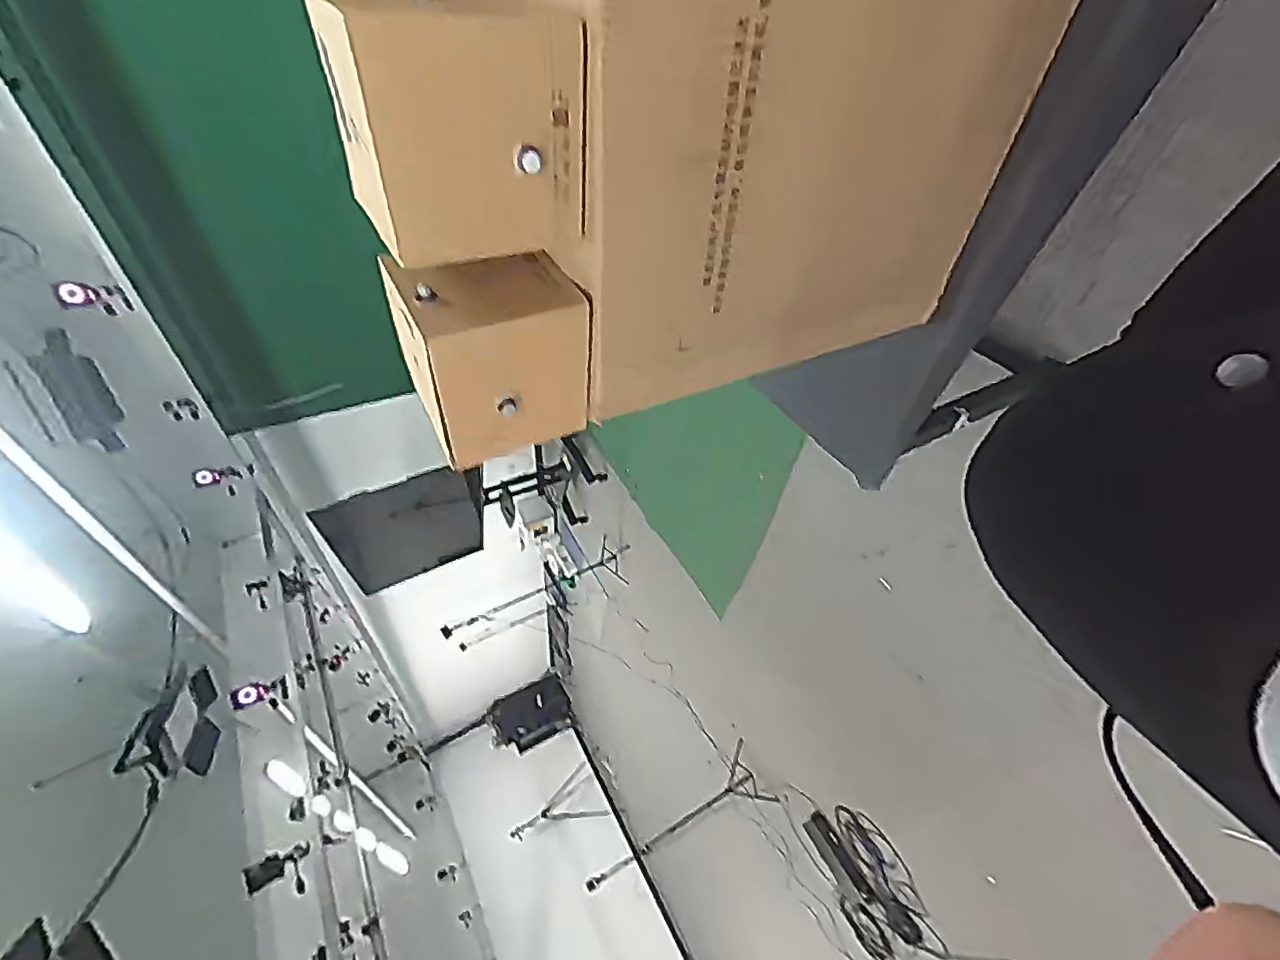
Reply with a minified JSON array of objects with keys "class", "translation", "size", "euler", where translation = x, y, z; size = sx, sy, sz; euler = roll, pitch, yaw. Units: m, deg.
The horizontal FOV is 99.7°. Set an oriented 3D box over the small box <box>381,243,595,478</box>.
[{"class":"small box","translation":[-0.163,-0.138,0.614],"size":[0.168,0.176,0.179],"euler":[51,151,28]}]
